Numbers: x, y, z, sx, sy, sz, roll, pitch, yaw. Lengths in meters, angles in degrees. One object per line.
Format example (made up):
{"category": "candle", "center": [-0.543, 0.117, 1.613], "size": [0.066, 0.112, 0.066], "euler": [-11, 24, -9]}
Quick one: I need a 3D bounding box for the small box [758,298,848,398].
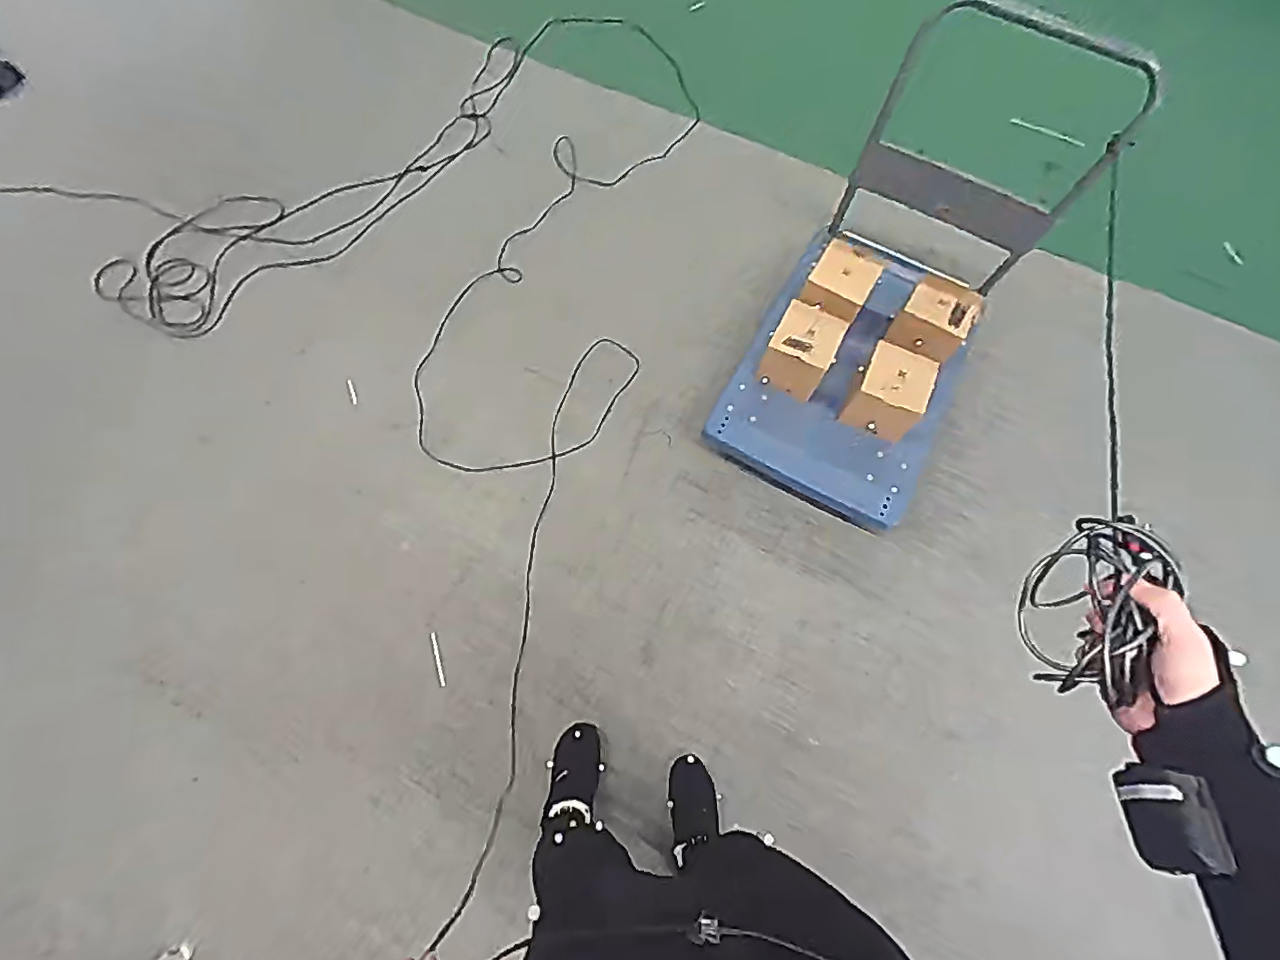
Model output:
{"category": "small box", "center": [0.439, -0.356, 1.489], "size": [0.168, 0.176, 0.179], "euler": [27, 70, 7]}

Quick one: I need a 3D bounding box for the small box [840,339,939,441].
{"category": "small box", "center": [0.661, -0.237, 1.451], "size": [0.168, 0.176, 0.179], "euler": [25, 70, 8]}

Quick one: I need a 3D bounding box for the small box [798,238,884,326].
{"category": "small box", "center": [0.569, -0.553, 1.570], "size": [0.168, 0.176, 0.179], "euler": [30, 71, 9]}
